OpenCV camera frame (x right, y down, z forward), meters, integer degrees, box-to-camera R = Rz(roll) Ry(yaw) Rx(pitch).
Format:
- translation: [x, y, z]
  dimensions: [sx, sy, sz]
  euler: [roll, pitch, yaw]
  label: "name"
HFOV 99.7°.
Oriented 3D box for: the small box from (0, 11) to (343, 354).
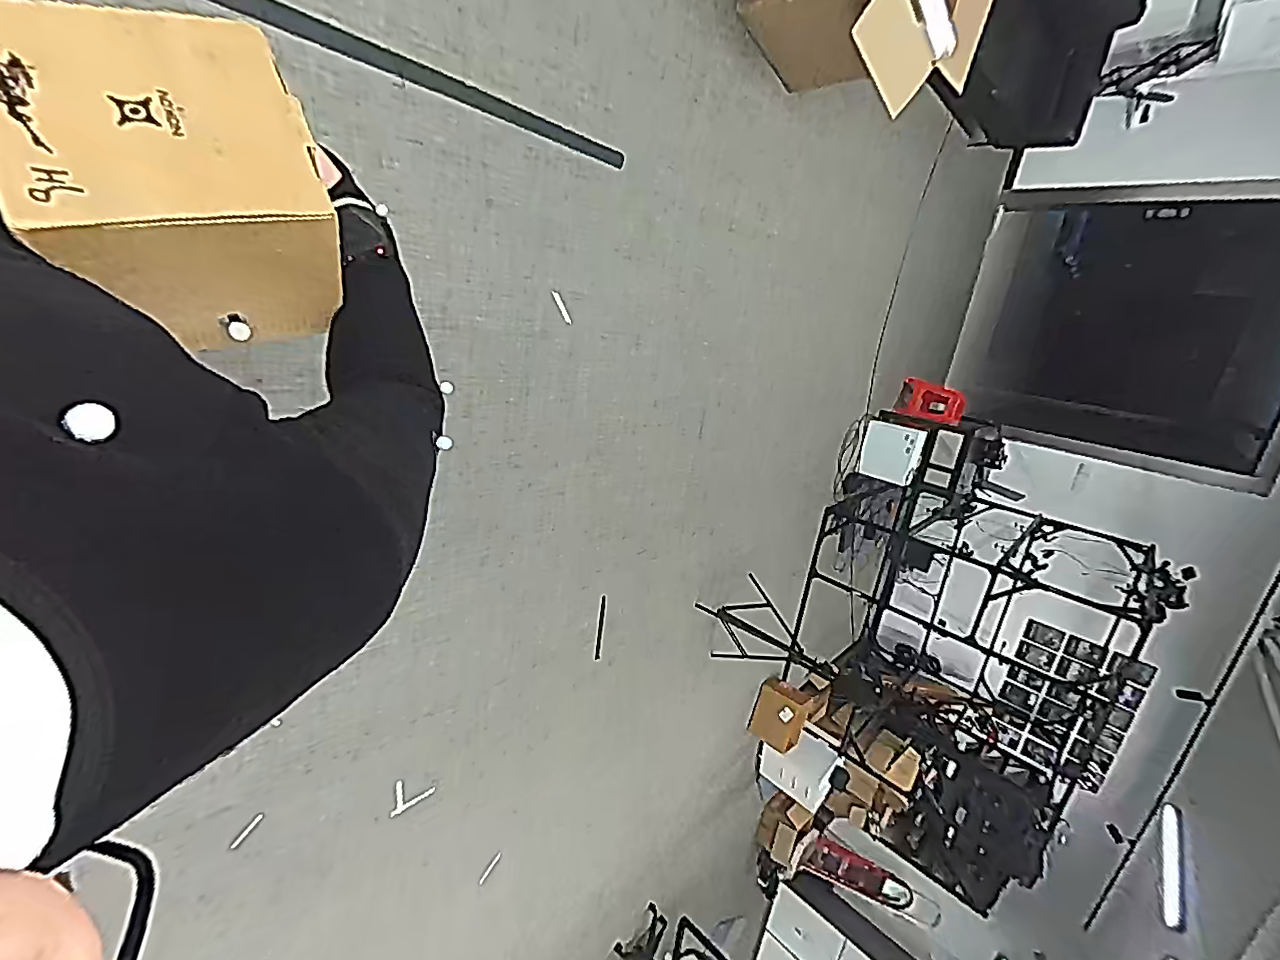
- translation: [-0.368, -0.226, 0.448]
  dimensions: [0.179, 0.176, 0.168]
  euler: [-21, 83, -32]
  label: "small box"
